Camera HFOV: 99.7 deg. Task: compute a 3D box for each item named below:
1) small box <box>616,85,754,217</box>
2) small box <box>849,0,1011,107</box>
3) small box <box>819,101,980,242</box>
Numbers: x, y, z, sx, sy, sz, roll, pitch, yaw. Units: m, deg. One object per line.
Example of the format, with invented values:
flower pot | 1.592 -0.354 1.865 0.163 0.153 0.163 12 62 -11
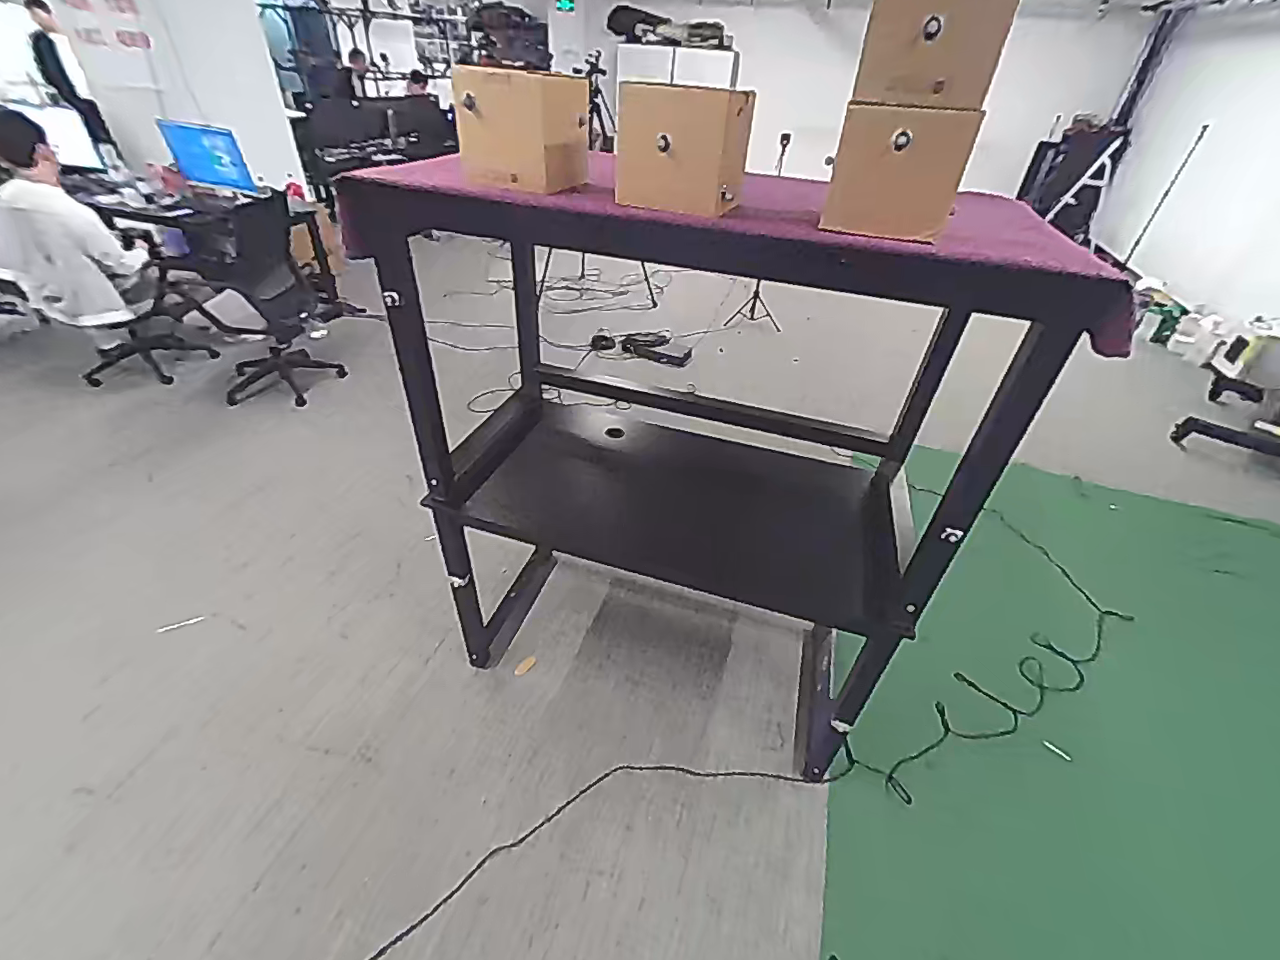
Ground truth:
small box | 0.072 -0.540 0.888 0.179 0.176 0.168 16 38 17
small box | 0.393 -0.609 0.735 0.168 0.176 0.179 15 39 15
small box | 0.385 -0.473 0.828 0.179 0.176 0.168 15 39 15
